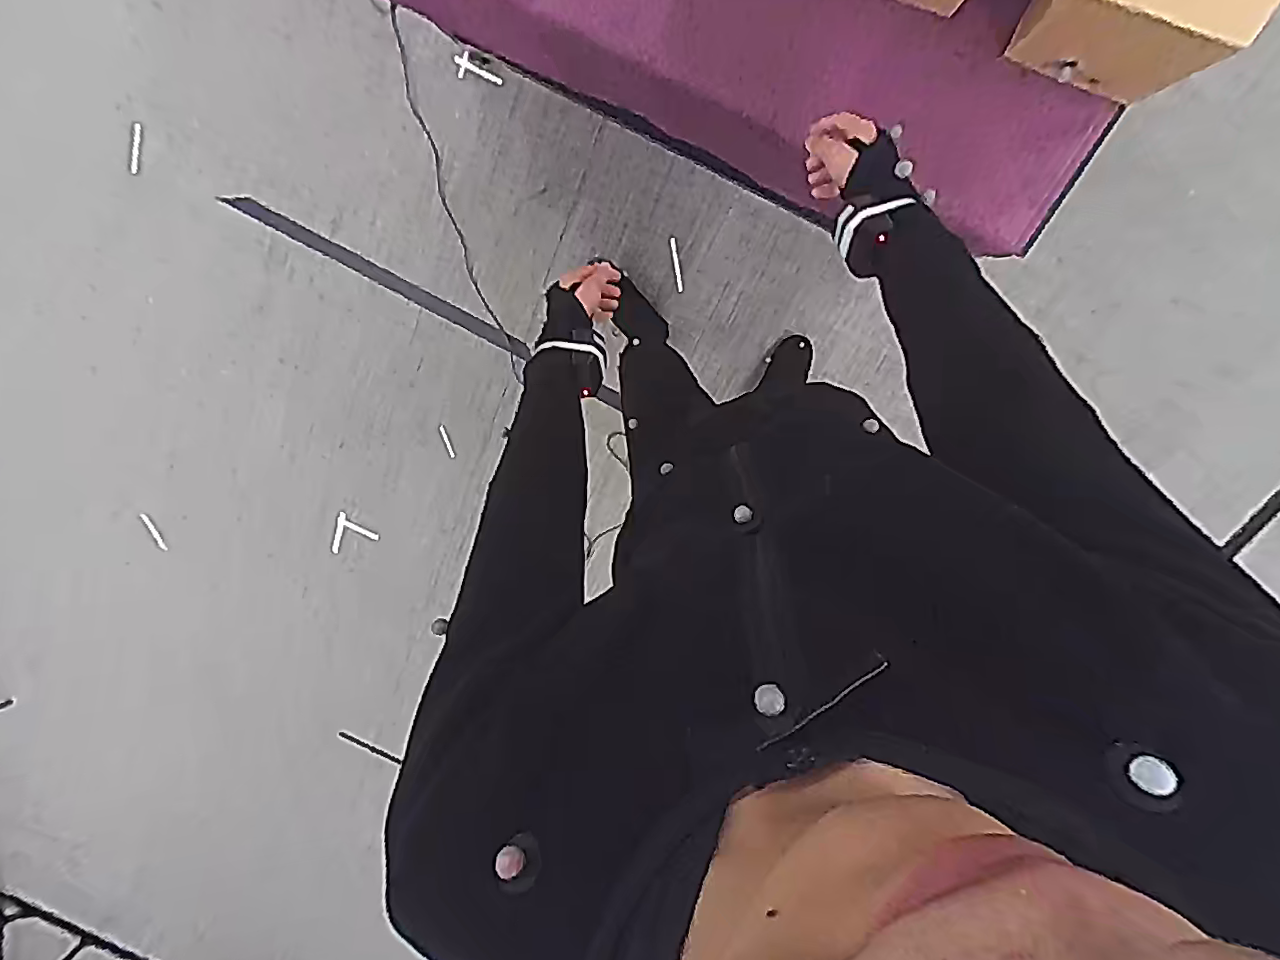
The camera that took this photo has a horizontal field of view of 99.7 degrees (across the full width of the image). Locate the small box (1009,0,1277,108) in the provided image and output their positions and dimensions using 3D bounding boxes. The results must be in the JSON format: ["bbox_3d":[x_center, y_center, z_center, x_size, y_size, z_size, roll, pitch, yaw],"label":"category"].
[{"bbox_3d":[0.525,-0.524,0.548,0.168,0.176,0.179,23,111,2],"label":"small box"}]

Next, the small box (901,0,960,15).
[{"bbox_3d":[0.309,-0.627,0.547,0.168,0.176,0.179,21,111,1],"label":"small box"}]
